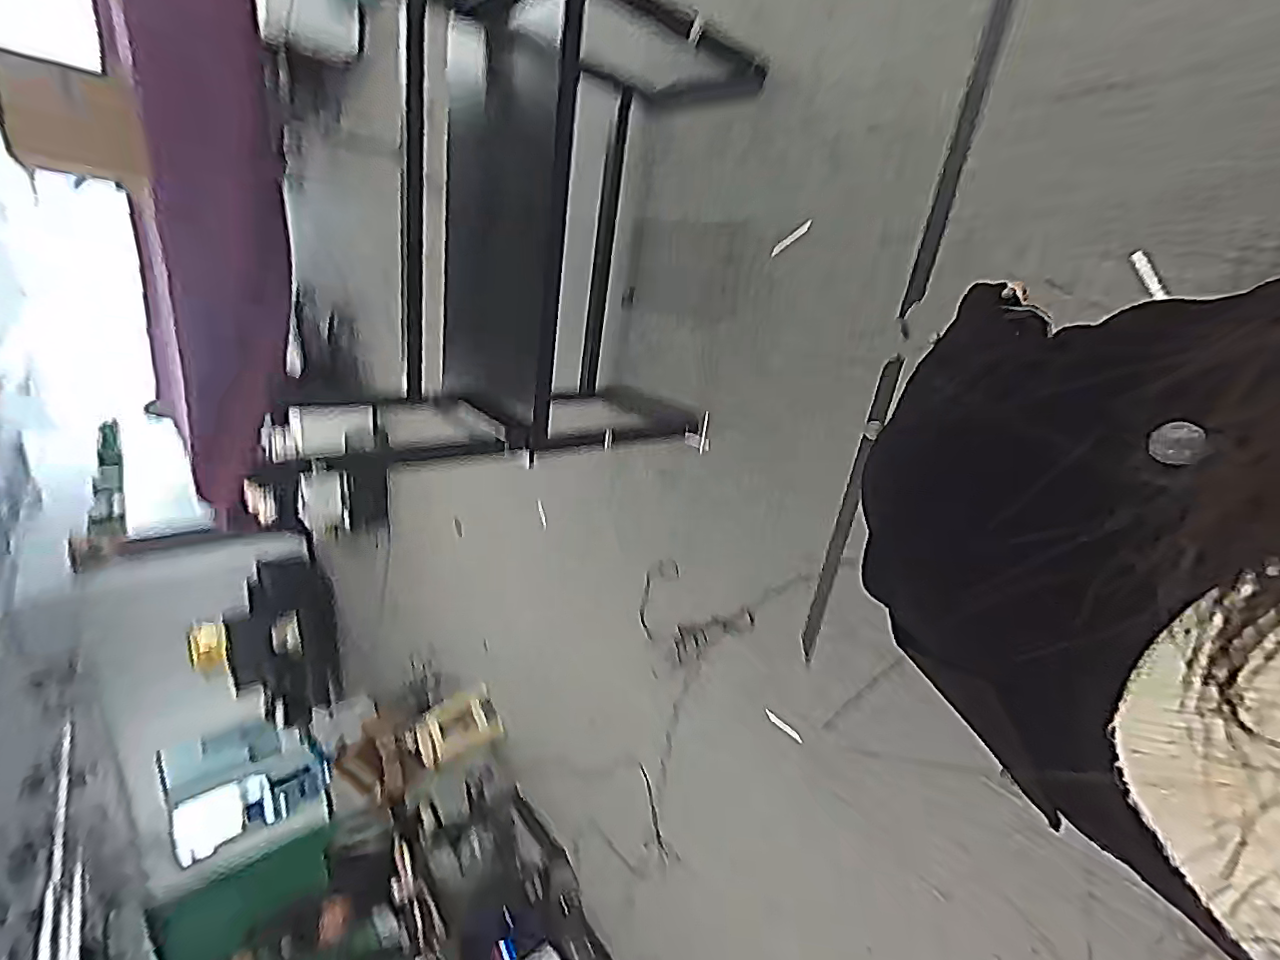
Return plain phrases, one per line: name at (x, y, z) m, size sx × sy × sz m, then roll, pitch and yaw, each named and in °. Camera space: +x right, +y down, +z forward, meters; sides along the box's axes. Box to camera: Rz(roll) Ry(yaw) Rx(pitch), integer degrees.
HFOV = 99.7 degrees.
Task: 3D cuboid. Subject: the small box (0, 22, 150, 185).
small box at (-0.954, -0.618, 0.908) m, size 0.168 × 0.176 × 0.179 m, roll 22°, pitch 114°, yaw 45°
